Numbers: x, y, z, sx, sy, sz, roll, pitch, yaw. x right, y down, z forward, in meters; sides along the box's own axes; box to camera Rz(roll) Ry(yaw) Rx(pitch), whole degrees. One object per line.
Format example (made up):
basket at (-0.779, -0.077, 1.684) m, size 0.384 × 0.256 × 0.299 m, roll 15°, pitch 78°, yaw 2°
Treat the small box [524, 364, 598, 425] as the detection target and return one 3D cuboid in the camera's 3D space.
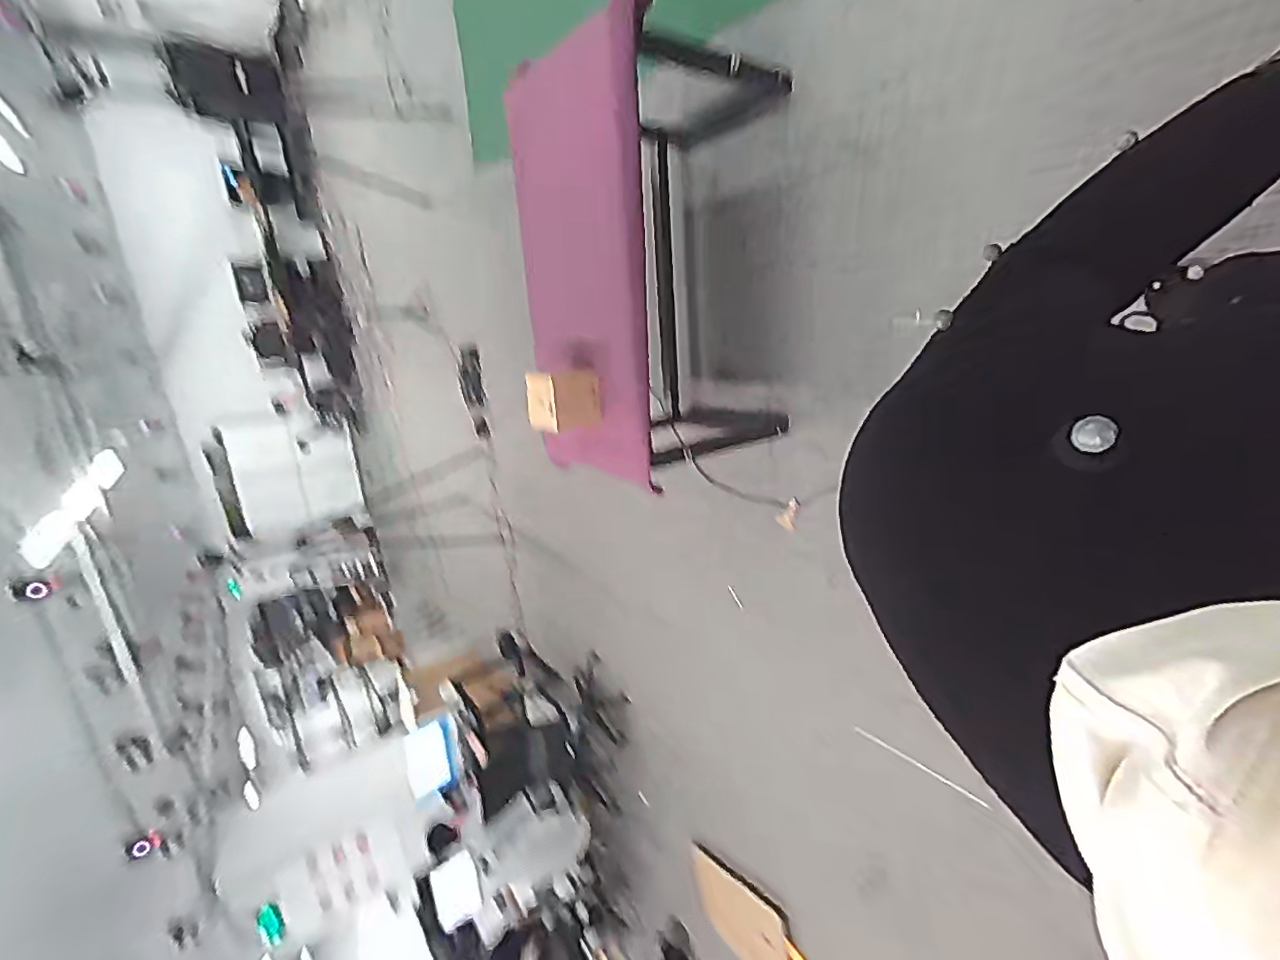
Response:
small box at (-0.250, -0.277, 1.718) m, size 0.179 × 0.176 × 0.168 m, roll 19°, pitch 117°, yaw 50°
